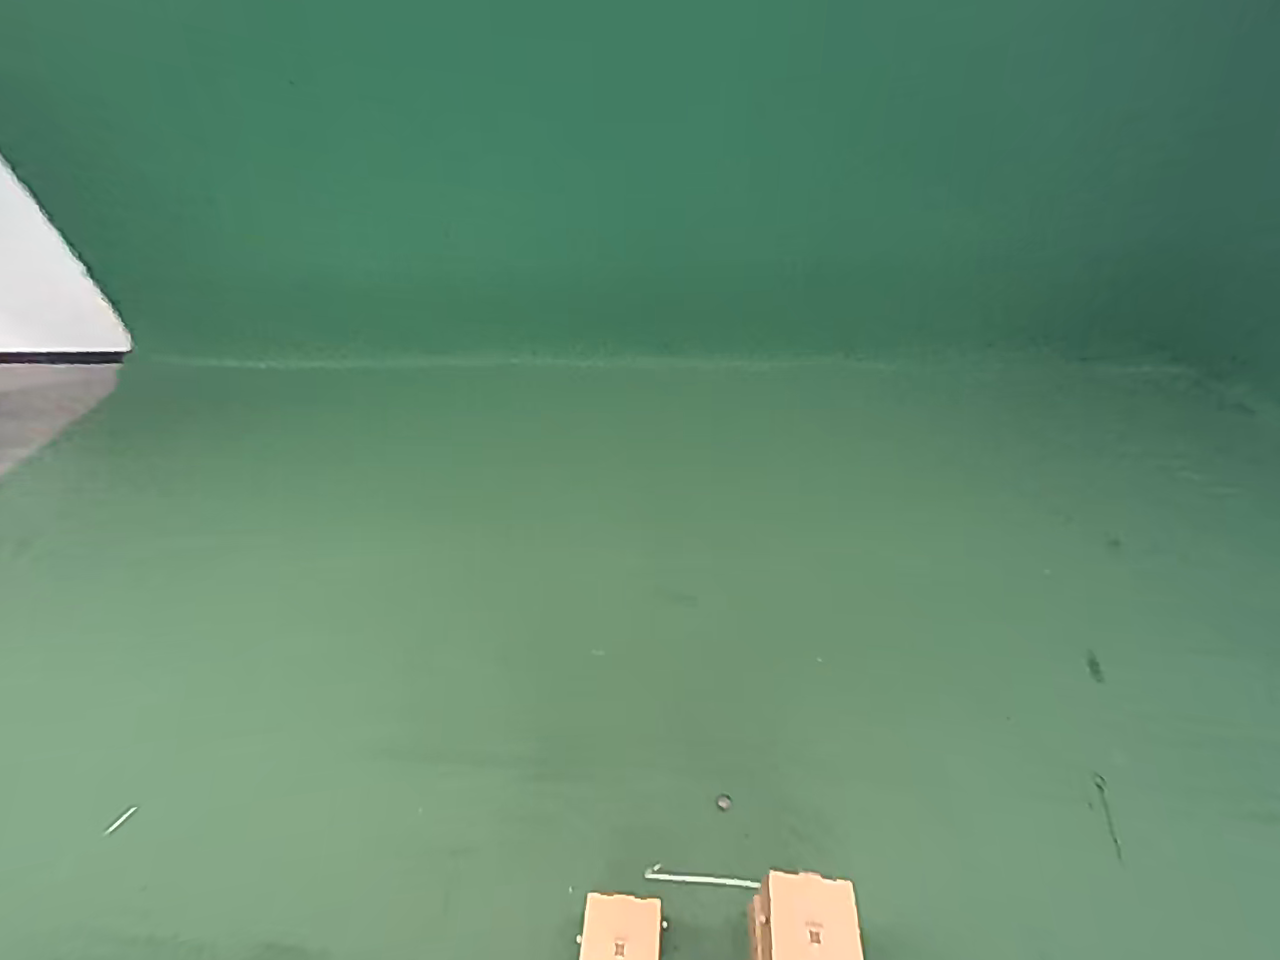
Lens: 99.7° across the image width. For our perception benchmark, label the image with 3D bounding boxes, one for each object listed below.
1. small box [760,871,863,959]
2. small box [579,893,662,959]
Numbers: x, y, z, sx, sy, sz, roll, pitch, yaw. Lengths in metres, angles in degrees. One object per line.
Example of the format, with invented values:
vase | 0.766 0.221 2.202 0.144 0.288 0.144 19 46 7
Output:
small box | 0.330 0.903 1.061 0.168 0.176 0.179 4 44 7
small box | -0.039 1.037 1.185 0.168 0.176 0.179 1 43 6
